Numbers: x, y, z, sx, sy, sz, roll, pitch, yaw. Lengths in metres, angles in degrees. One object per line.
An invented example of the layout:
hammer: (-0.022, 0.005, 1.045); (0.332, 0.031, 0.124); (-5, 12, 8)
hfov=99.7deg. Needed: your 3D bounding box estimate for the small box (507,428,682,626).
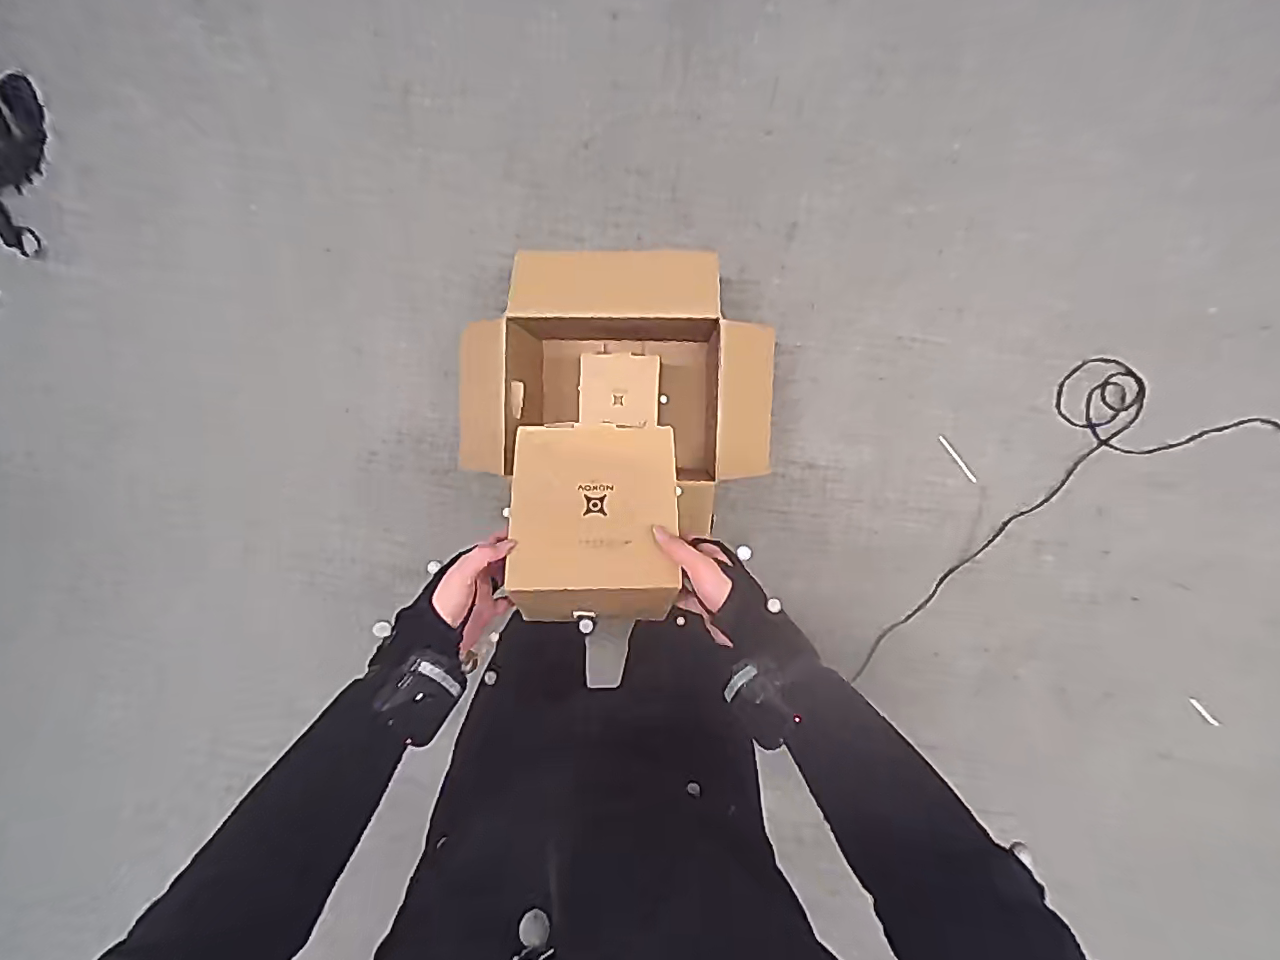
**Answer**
small box: (-0.048, 0.058, 0.605); (0.168, 0.176, 0.179); (-1, 65, -3)
